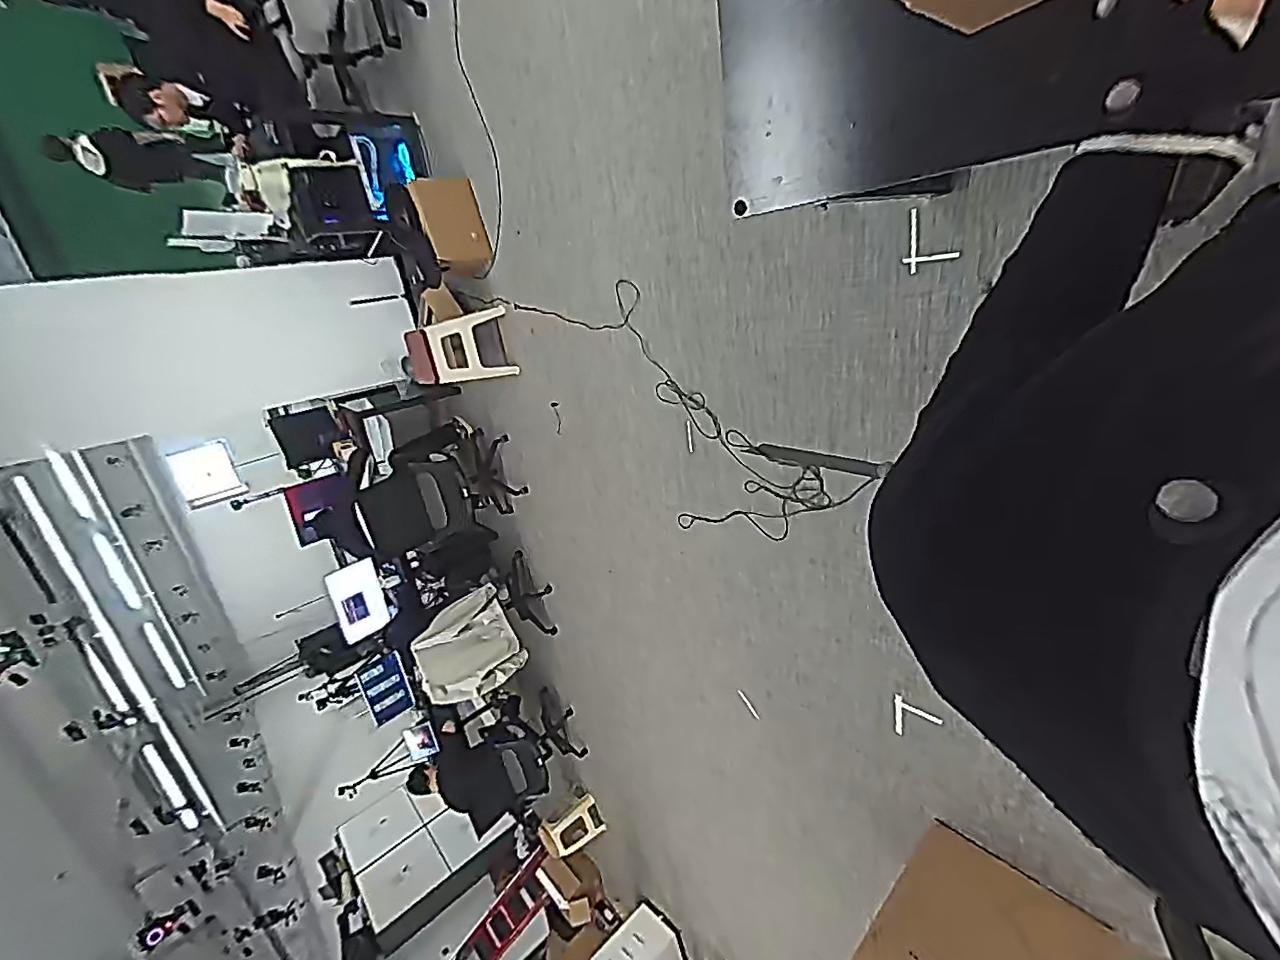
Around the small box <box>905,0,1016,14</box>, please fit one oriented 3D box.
[{"bbox_3d":[0.346,-0.549,0.471,0.168,0.176,0.179,11,118,50],"label":"small box"}]
